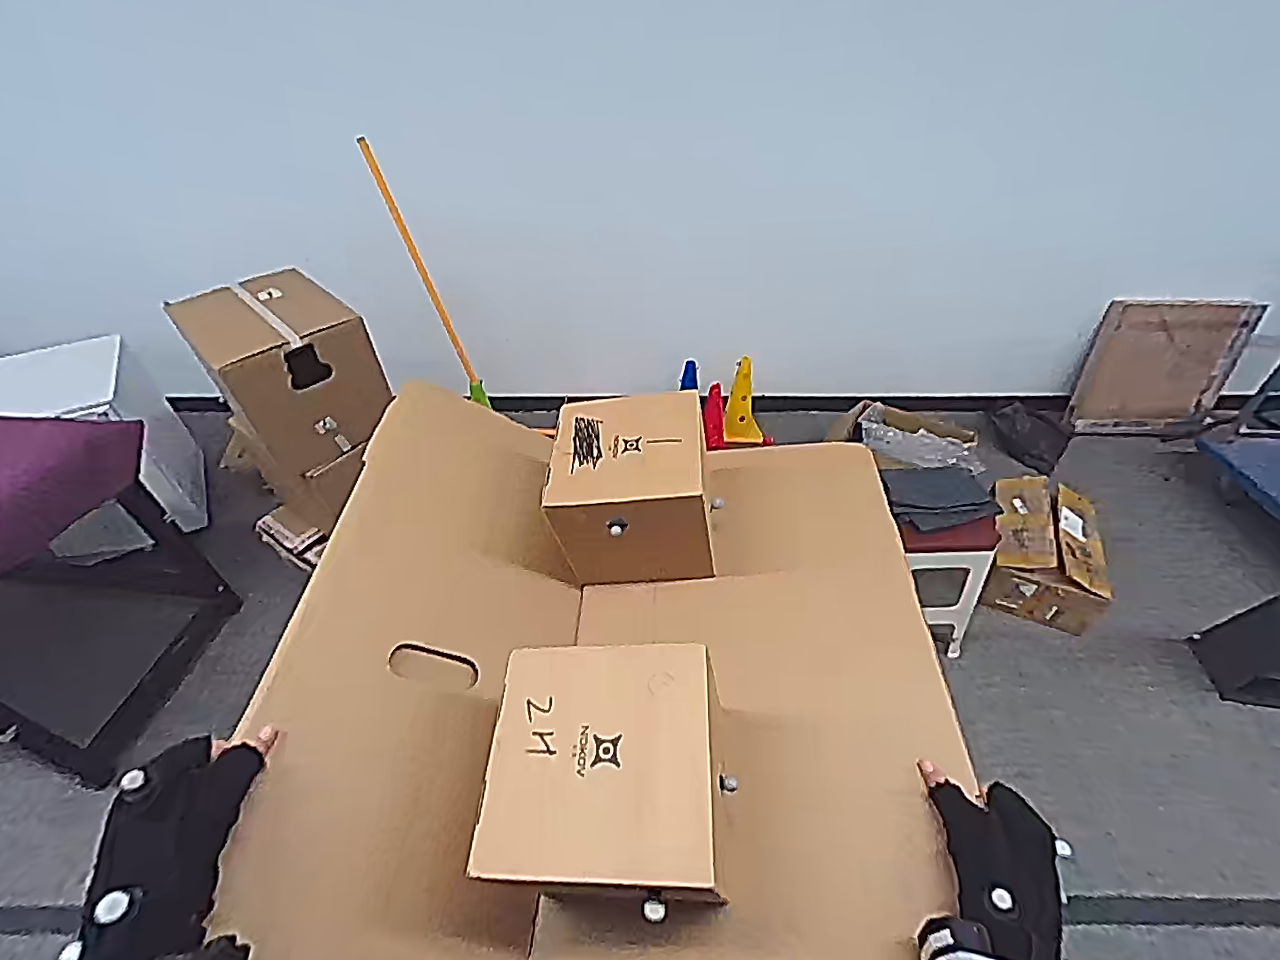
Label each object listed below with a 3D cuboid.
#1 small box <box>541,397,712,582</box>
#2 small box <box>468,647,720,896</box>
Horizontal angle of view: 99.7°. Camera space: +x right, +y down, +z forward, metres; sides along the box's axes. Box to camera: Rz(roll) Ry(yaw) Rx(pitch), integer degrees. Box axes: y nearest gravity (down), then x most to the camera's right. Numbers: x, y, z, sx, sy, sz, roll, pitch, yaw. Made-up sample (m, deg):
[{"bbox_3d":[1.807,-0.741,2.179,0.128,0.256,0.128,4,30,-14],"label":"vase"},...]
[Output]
[{"bbox_3d":[-0.005,0.018,0.687,0.179,0.176,0.168,-4,50,9],"label":"small box"},{"bbox_3d":[-0.020,0.261,0.483,0.179,0.176,0.168,-5,49,11],"label":"small box"}]
